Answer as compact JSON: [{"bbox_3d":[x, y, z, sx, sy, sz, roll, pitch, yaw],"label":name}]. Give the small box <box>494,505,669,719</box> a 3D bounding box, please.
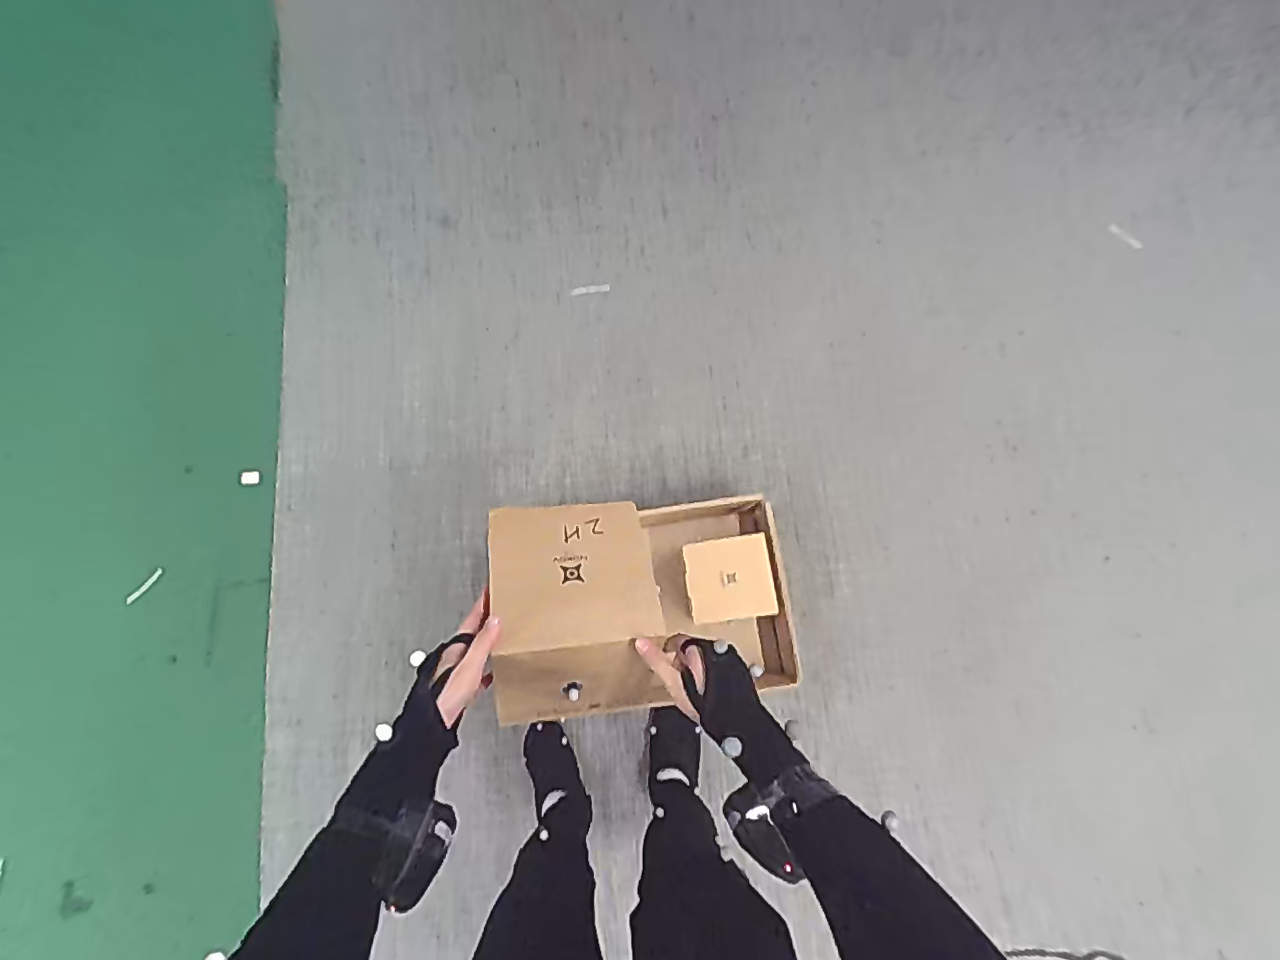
[{"bbox_3d":[-0.074,0.151,0.609,0.168,0.176,0.179,-3,46,-13],"label":"small box"}]
